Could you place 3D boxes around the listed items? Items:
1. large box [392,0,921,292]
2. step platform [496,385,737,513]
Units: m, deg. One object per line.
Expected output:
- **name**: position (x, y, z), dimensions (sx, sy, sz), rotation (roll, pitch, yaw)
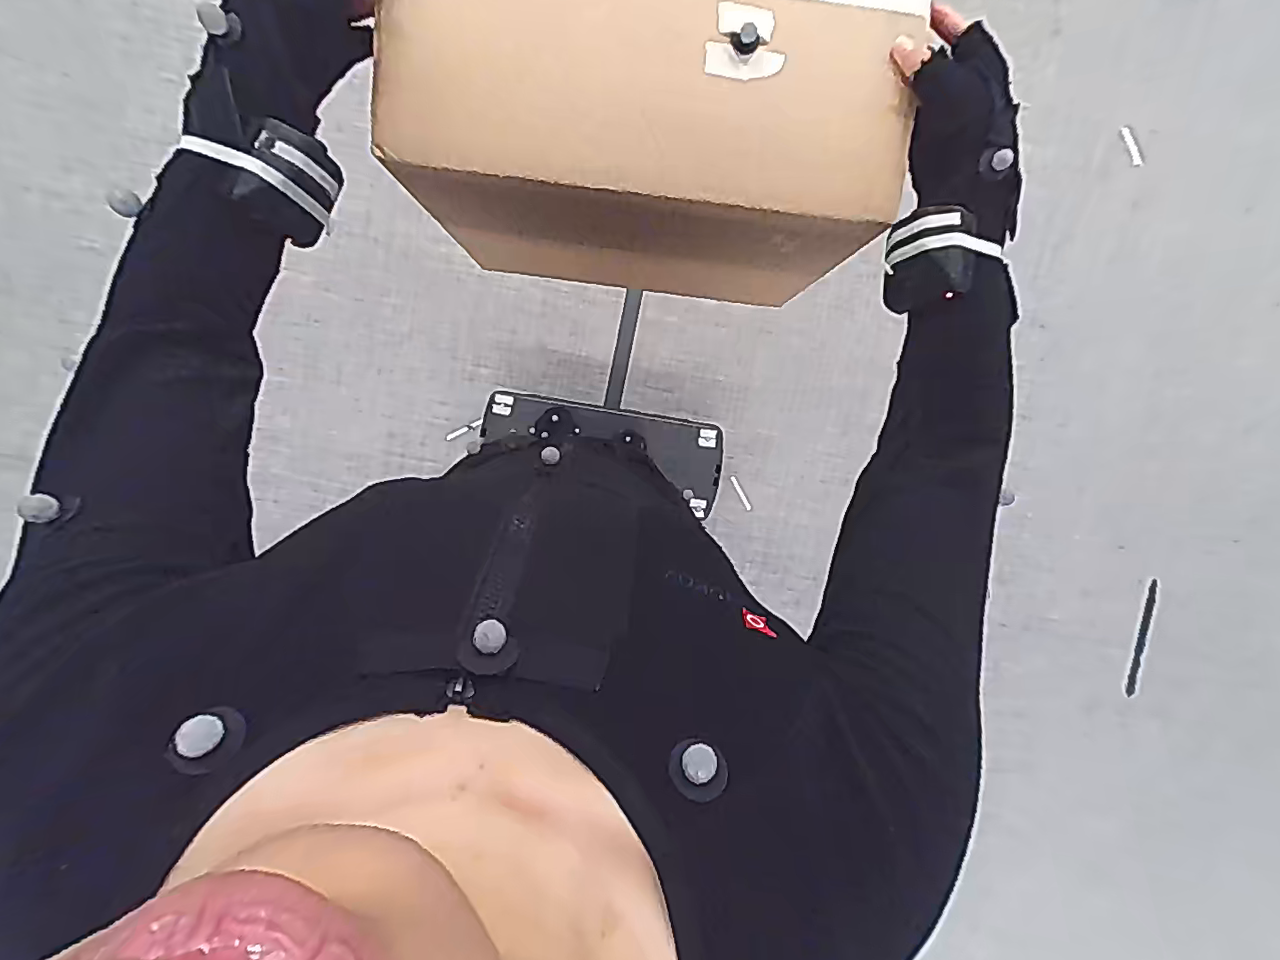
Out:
- **large box**: position (0.012, -0.400, 0.554), dimensions (0.408, 0.320, 0.320), rotation (6, 97, -3)
- **step platform**: position (-0.067, -0.090, 1.570), dimensions (0.684, 0.204, 0.286), rotation (8, 95, -3)
